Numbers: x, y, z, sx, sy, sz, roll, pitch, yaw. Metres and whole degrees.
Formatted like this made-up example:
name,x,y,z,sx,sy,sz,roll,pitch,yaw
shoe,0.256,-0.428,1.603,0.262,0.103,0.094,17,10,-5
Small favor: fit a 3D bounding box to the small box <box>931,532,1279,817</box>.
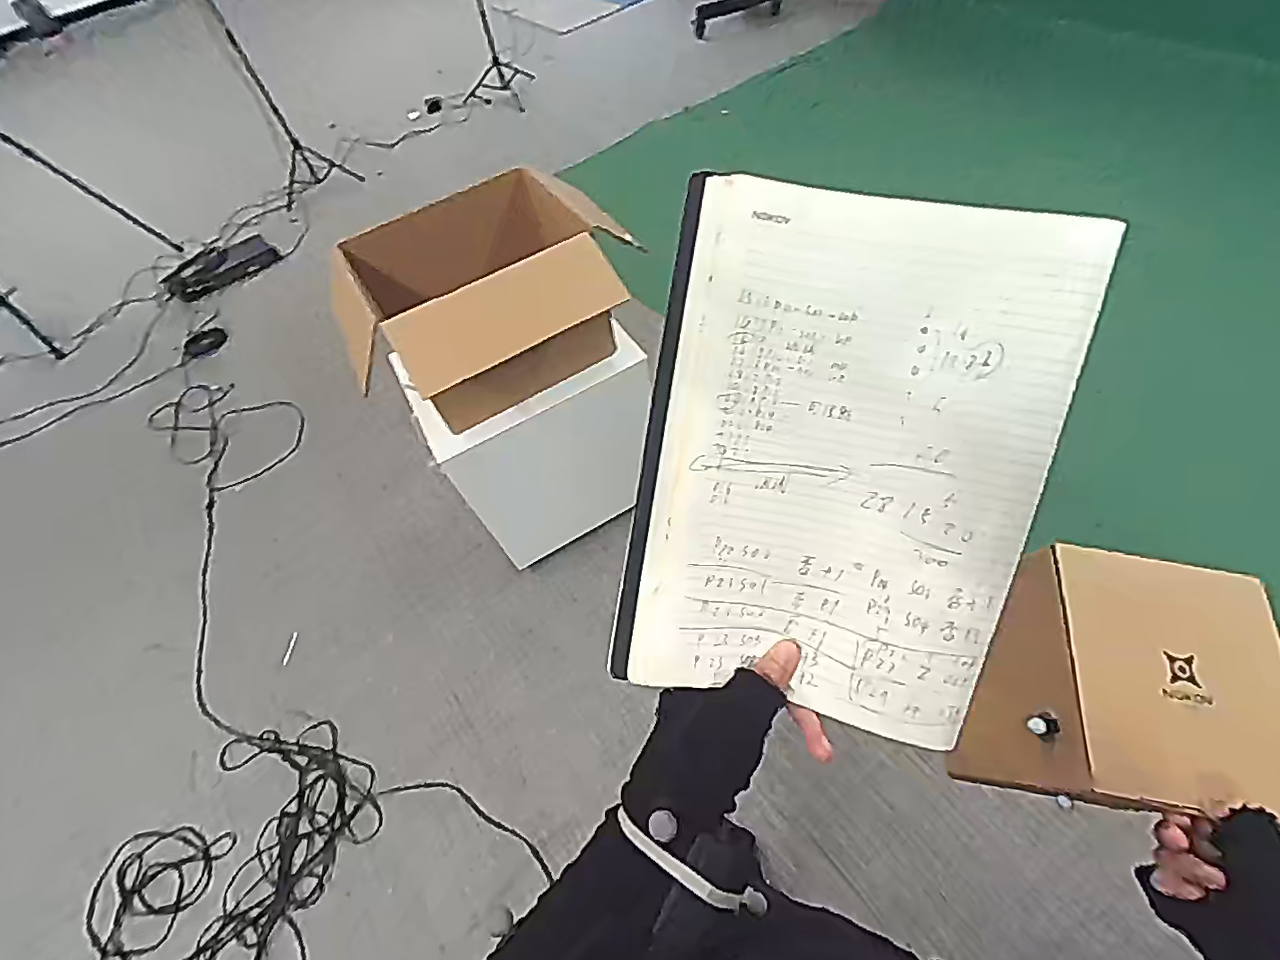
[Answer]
name,x,y,z,sx,sy,sz,roll,pitch,yaw
small box,0.374,0.165,0.461,0.168,0.176,0.179,10,66,-1
